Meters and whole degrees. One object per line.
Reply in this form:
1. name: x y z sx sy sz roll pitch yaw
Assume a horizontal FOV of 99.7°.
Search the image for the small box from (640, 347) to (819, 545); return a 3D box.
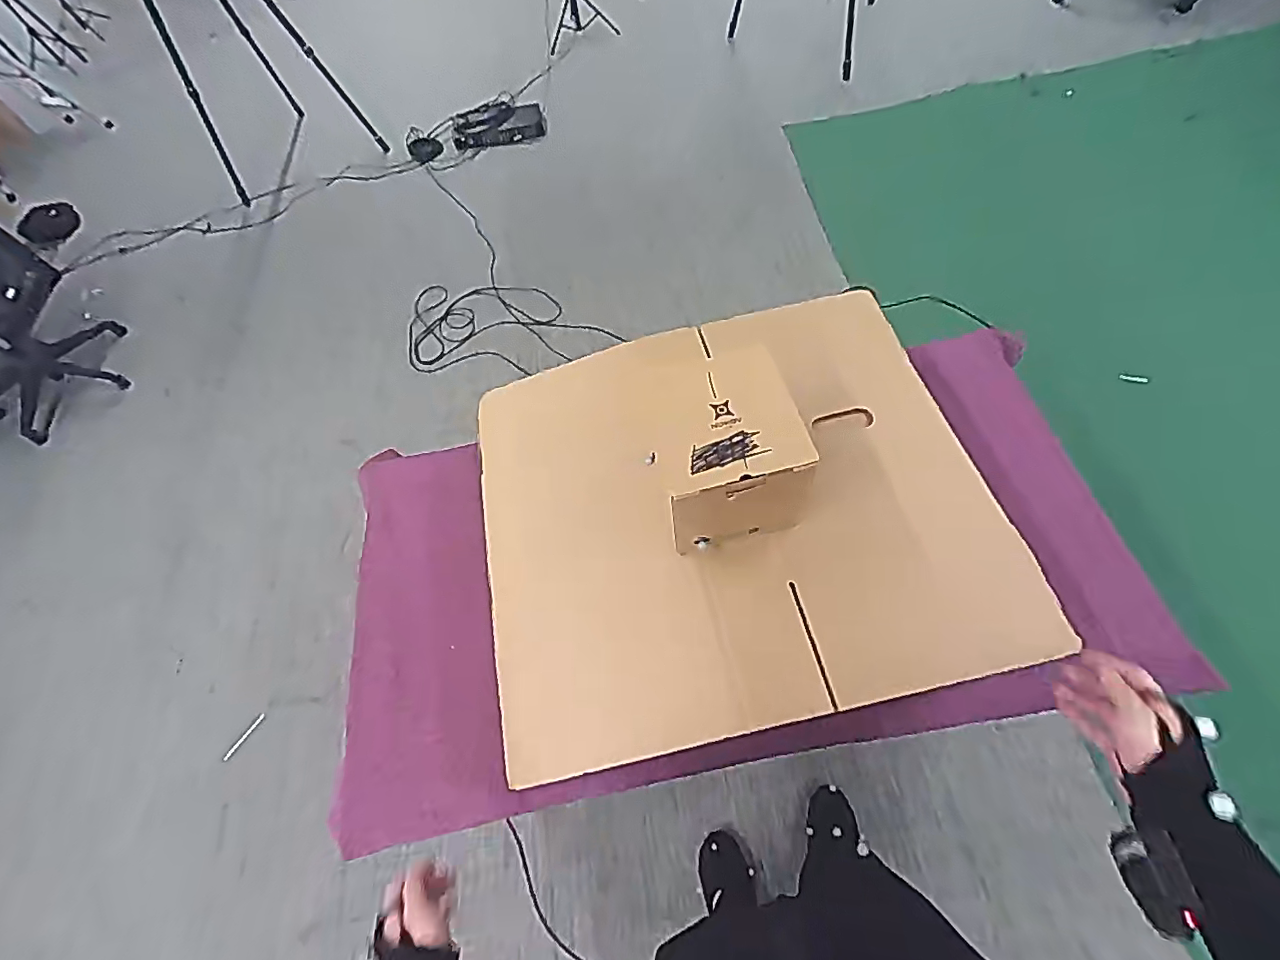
1. small box: 0.104 -0.031 0.676 0.168 0.176 0.179 -13 60 -1
